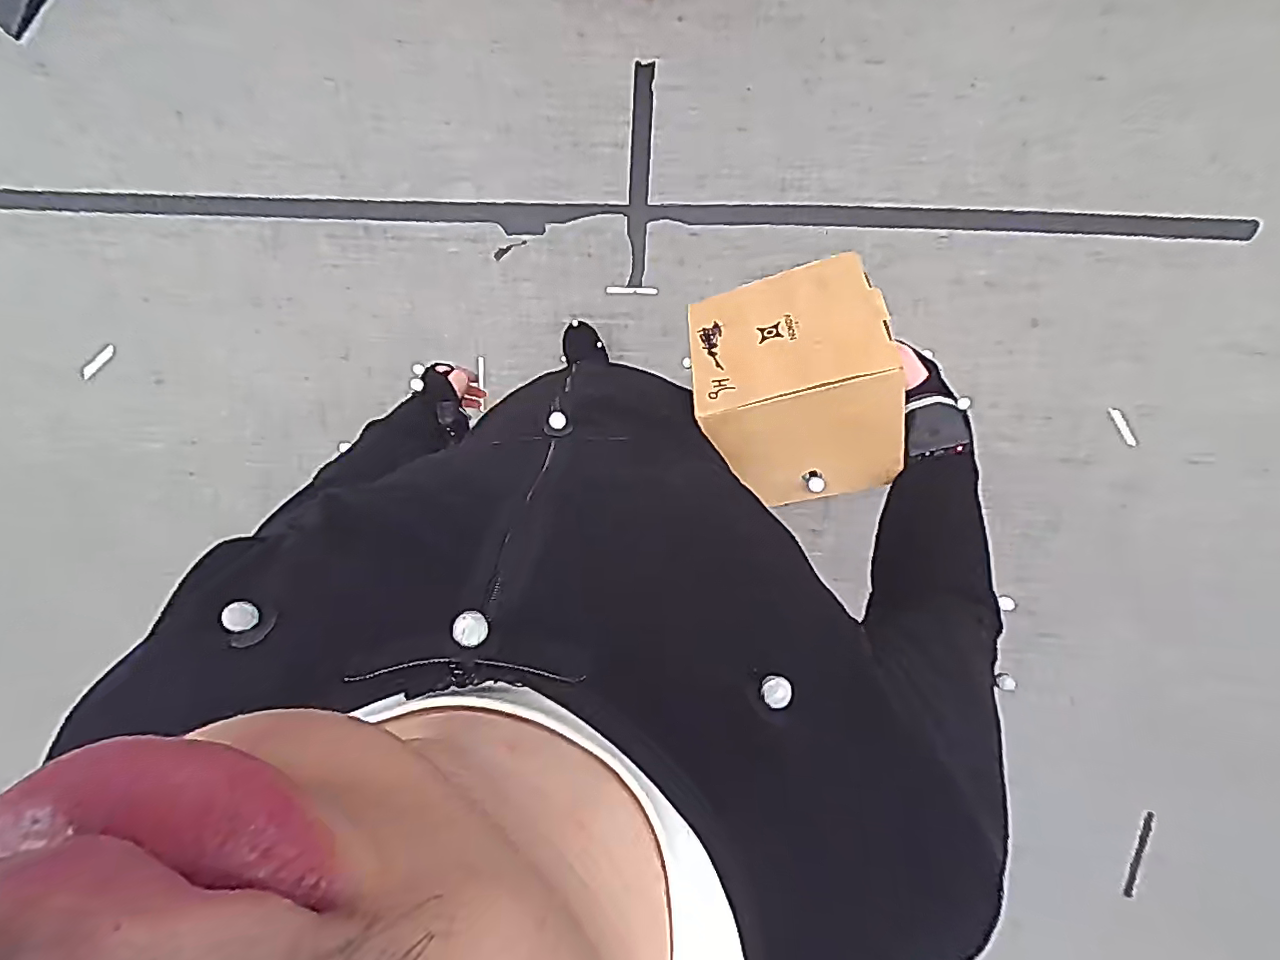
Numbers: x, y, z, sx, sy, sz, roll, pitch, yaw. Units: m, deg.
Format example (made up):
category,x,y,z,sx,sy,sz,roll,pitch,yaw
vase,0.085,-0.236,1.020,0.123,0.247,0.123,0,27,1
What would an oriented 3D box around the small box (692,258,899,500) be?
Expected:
category,x,y,z,sx,sy,sz,roll,pitch,yaw
small box,0.163,-0.098,0.583,0.179,0.168,0.176,-12,141,16
